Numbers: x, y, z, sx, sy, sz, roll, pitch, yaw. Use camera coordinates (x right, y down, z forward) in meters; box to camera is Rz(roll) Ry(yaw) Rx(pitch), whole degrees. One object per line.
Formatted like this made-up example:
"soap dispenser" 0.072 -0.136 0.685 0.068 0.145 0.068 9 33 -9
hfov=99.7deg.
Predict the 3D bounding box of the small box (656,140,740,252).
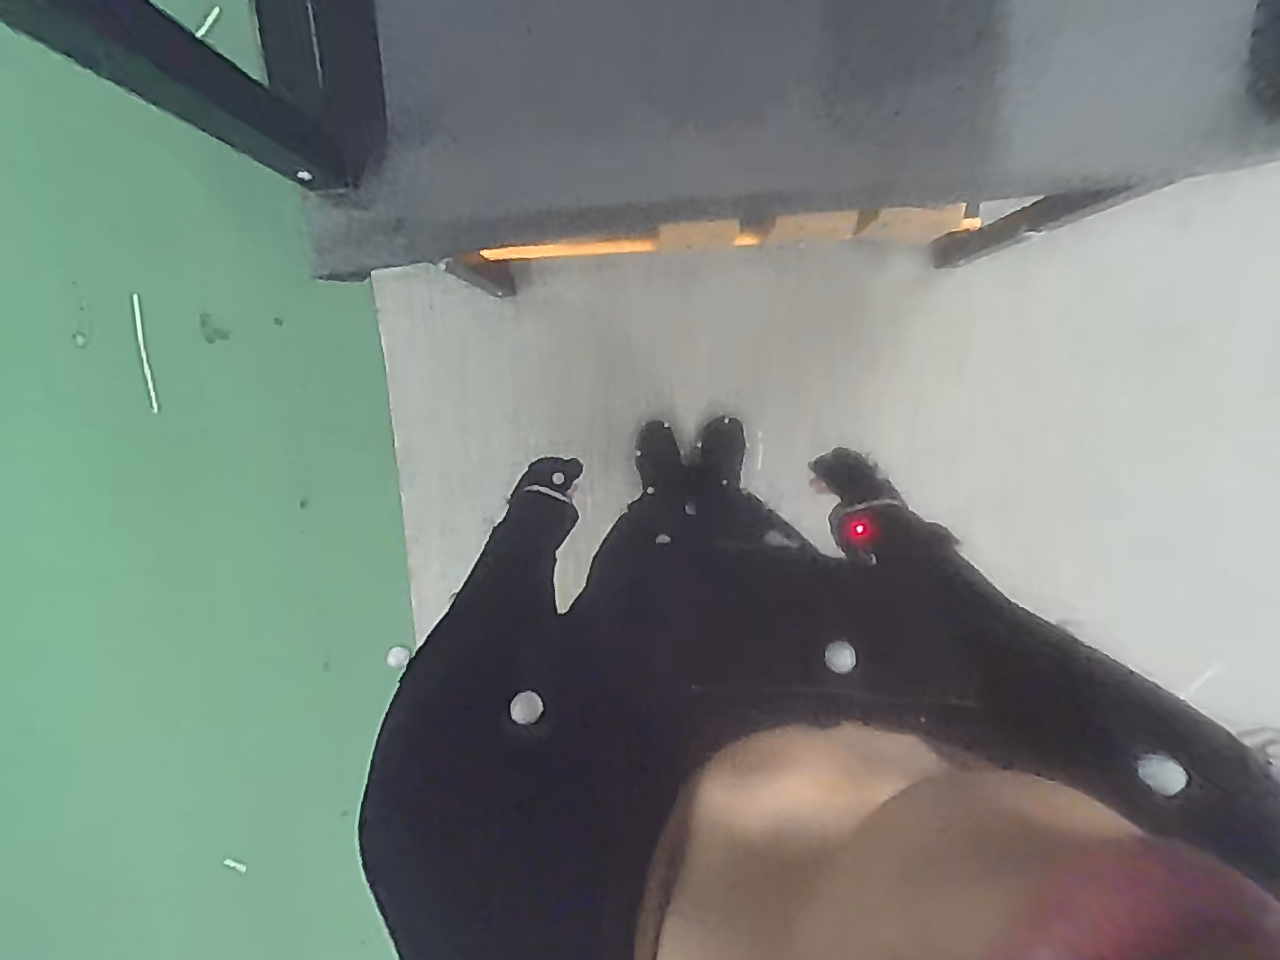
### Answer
"small box" 0.119 -0.602 1.164 0.168 0.176 0.179 -1 102 2
